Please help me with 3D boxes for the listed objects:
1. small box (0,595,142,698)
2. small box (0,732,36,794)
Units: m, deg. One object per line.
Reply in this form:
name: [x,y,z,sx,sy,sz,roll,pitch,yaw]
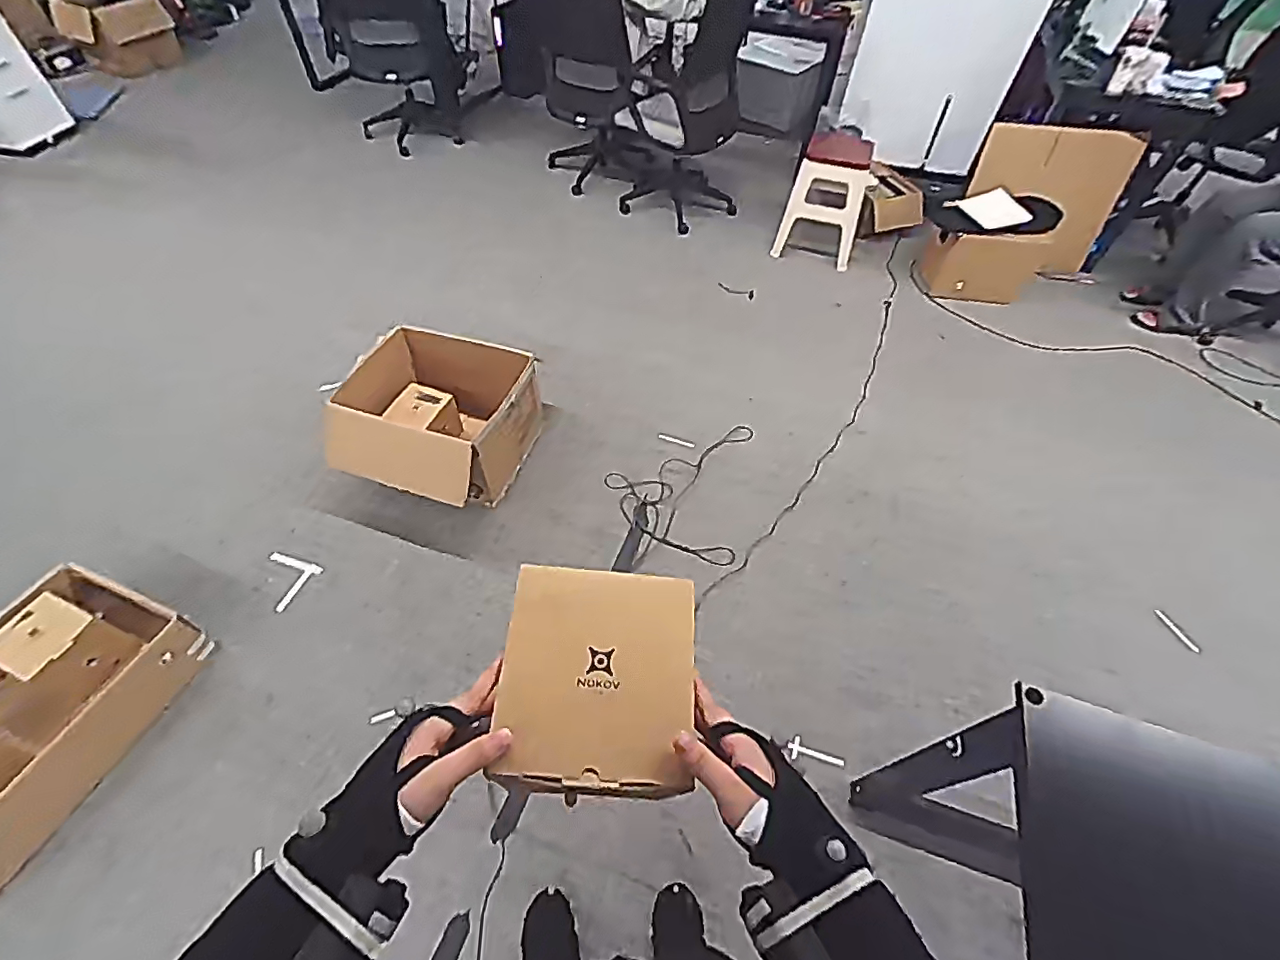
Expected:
small box: [-1.411,0.417,1.335,0.179,0.176,0.168,21,55,11]
small box: [-1.503,0.633,1.165,0.168,0.176,0.179,19,52,9]
